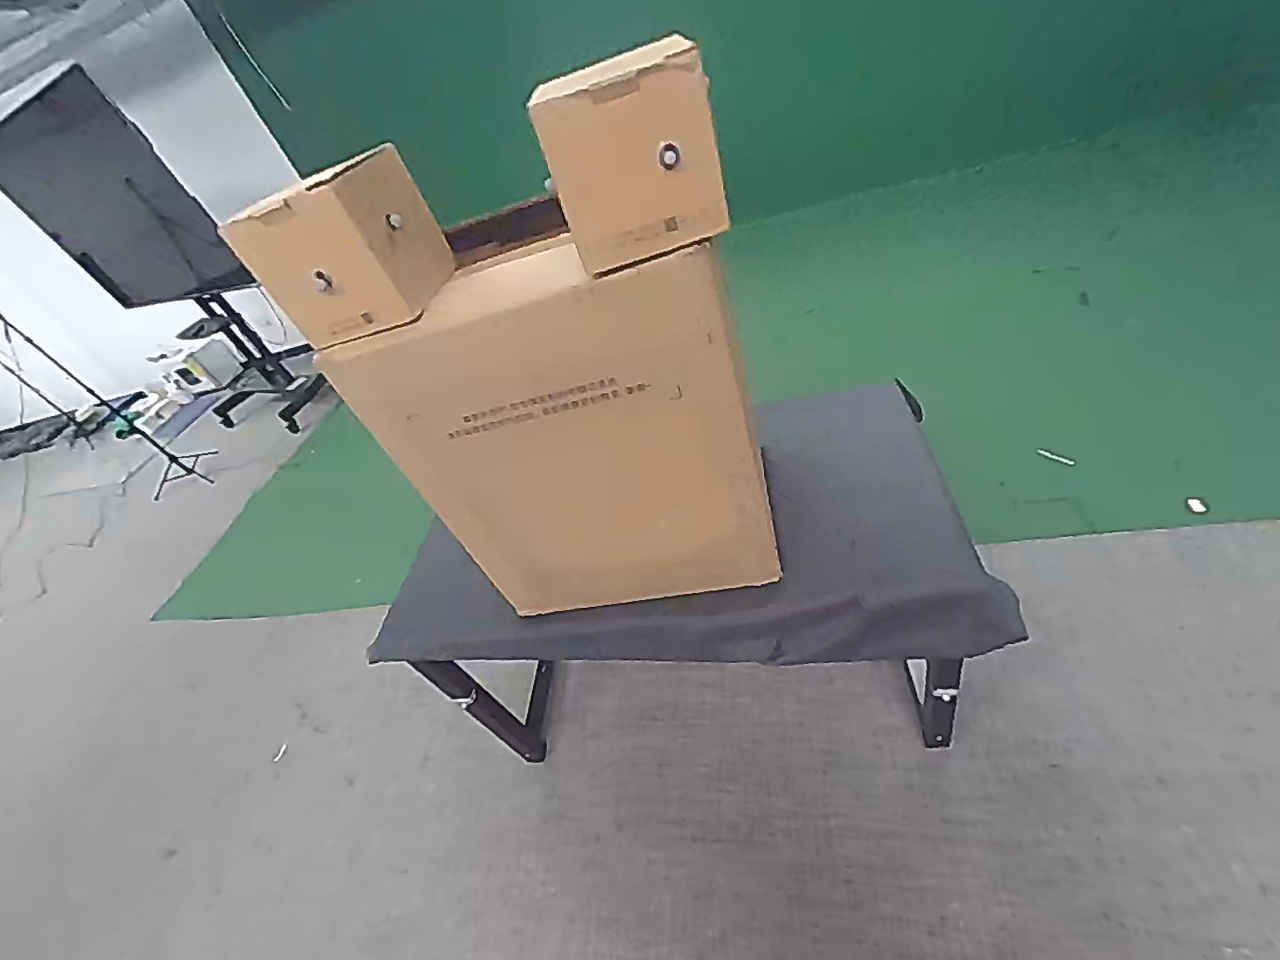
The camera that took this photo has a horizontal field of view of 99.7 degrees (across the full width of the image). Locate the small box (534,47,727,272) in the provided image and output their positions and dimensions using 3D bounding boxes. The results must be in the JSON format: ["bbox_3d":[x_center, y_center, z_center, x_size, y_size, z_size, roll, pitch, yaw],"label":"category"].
[{"bbox_3d":[-0.006,-0.354,0.610,0.168,0.176,0.179,-14,40,7],"label":"small box"}]

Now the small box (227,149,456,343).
[{"bbox_3d":[-0.372,-0.299,0.716,0.168,0.176,0.179,-10,42,15],"label":"small box"}]
